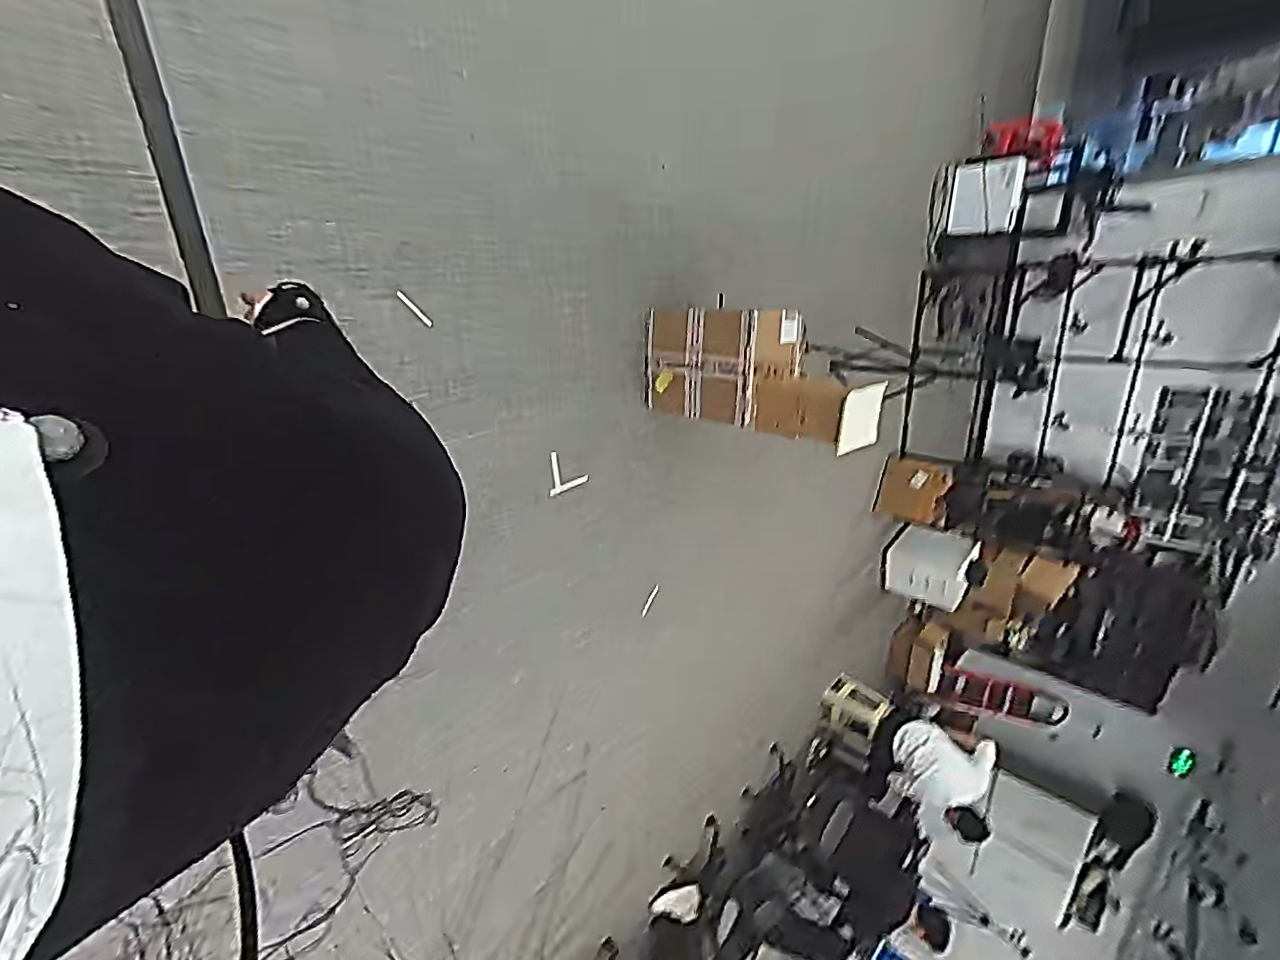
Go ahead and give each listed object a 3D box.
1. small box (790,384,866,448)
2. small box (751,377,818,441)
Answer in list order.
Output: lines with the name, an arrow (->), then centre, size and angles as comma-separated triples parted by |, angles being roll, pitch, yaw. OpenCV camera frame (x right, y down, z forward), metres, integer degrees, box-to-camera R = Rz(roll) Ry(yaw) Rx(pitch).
small box -> 0.625, -0.220, 1.800 | 0.179, 0.176, 0.168 | -20, 119, -40
small box -> 0.504, -0.256, 1.904 | 0.168, 0.176, 0.179 | -24, 120, -39
